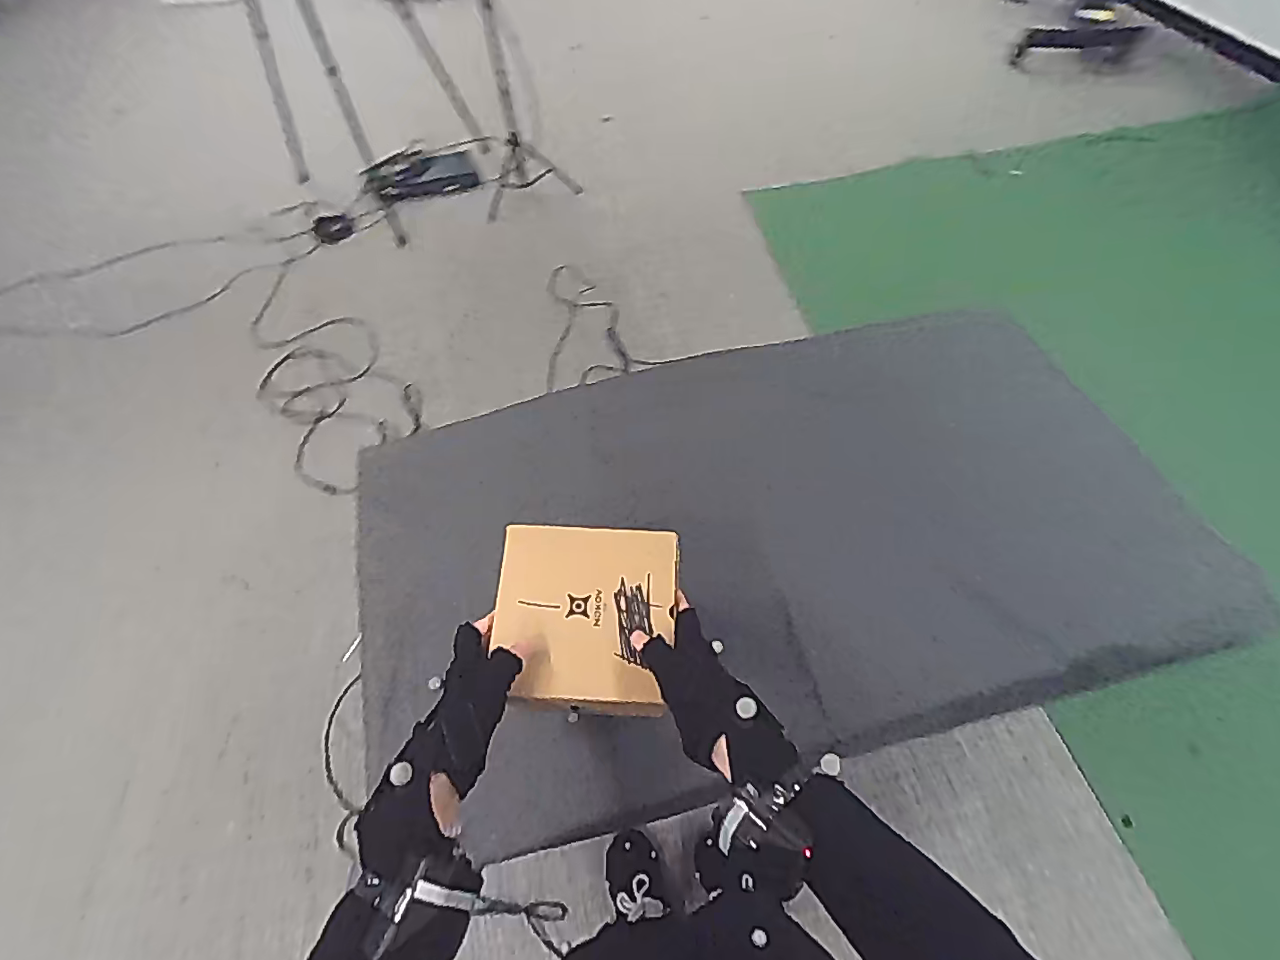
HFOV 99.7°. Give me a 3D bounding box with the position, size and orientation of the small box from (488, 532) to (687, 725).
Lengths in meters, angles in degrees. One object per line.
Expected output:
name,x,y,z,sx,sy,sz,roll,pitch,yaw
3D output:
small box,-0.048,0.168,0.584,0.179,0.176,0.168,4,62,-1
